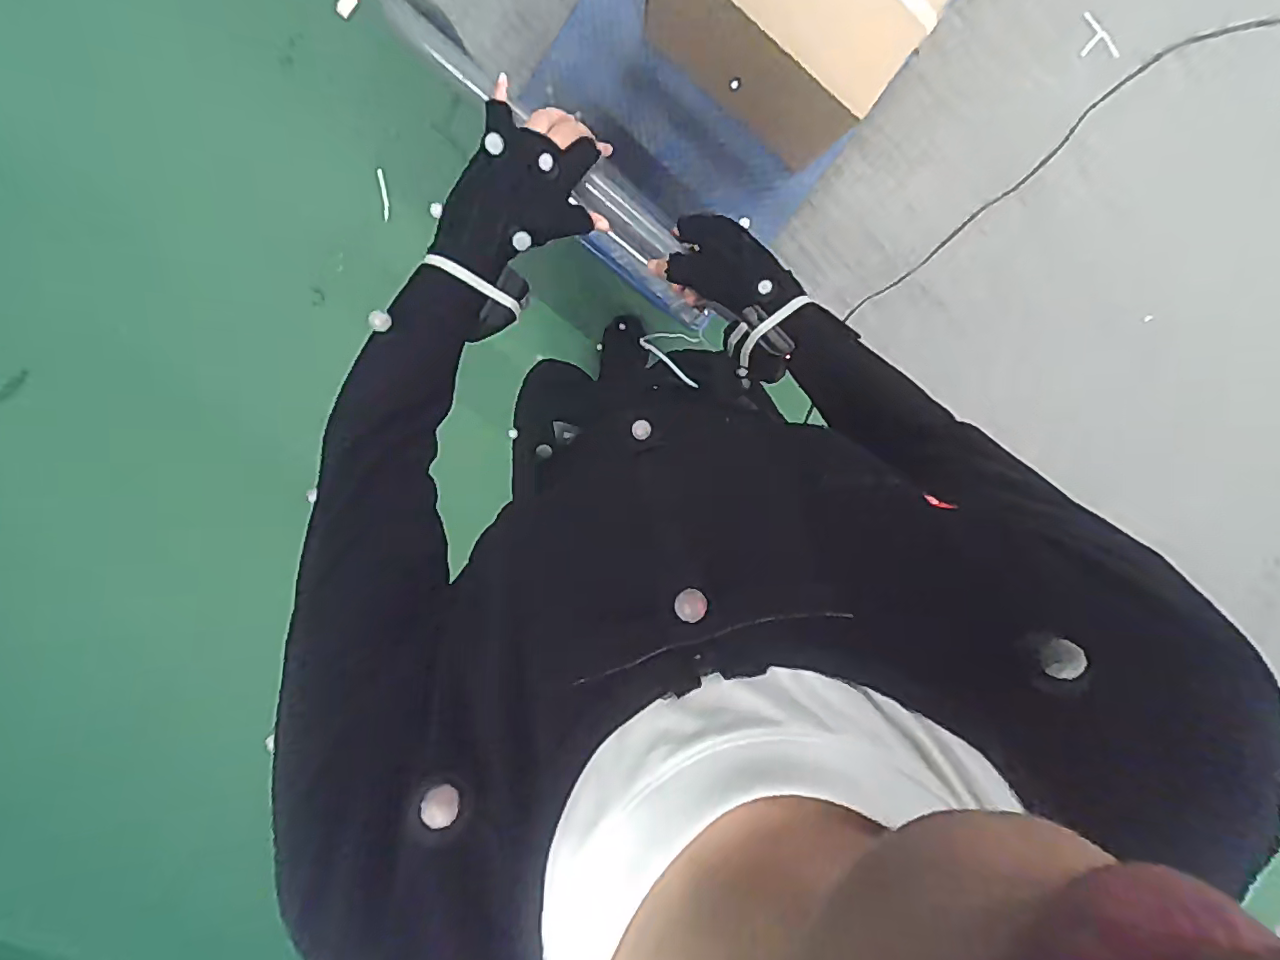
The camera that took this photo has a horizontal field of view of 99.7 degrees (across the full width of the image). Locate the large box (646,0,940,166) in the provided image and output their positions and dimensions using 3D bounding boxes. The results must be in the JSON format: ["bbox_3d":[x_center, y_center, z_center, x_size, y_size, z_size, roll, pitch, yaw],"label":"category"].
[{"bbox_3d":[0.262,-0.836,0.927,0.408,0.320,0.320,34,101,-11],"label":"large box"}]
